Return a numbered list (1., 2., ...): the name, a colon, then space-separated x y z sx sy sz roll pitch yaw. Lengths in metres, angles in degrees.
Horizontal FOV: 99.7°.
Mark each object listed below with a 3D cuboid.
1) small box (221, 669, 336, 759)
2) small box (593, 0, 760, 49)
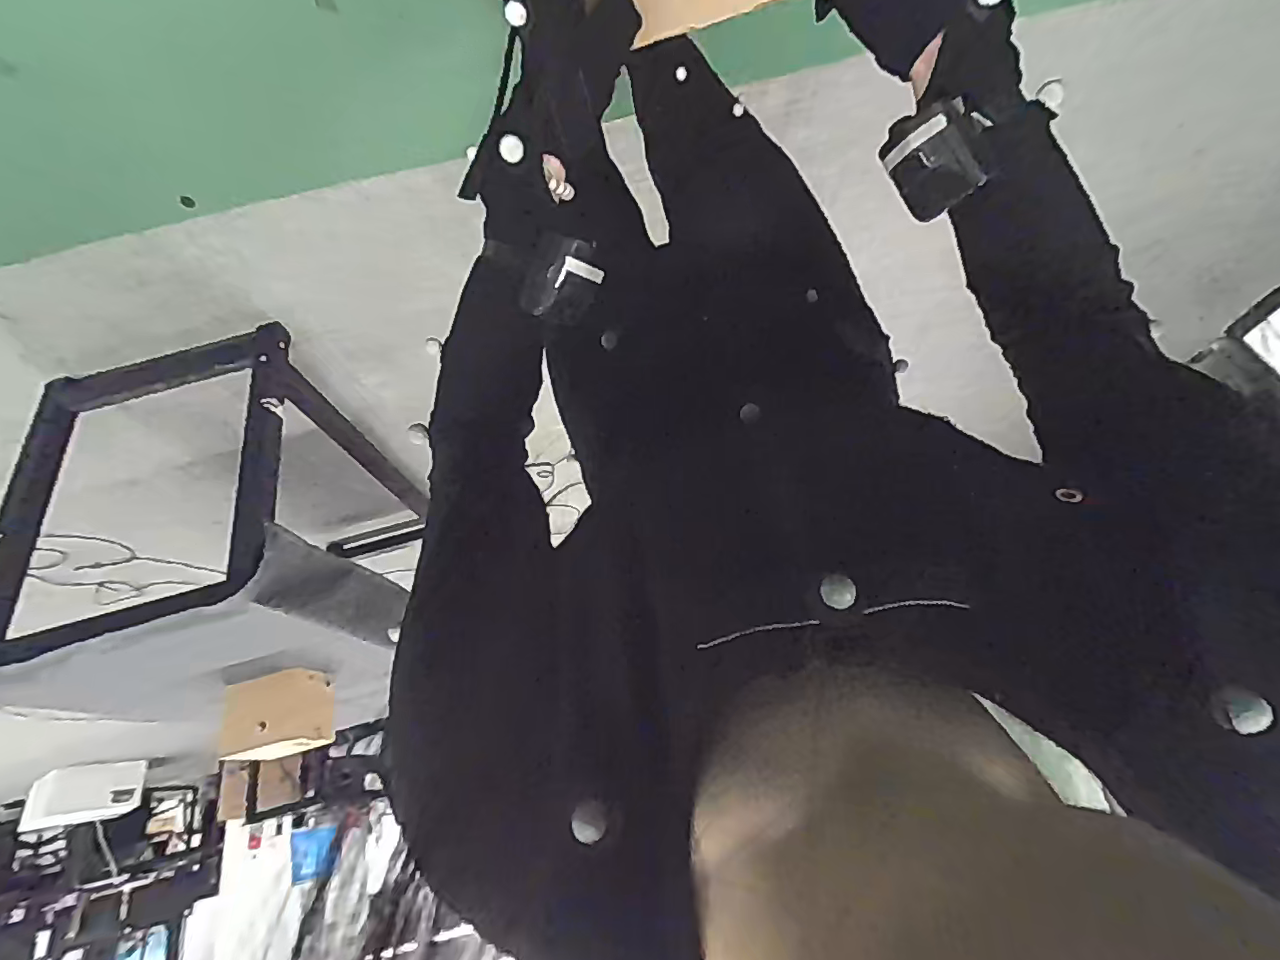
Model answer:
1. small box: -0.885 0.579 1.340 0.179 0.176 0.168 -15 151 0
2. small box: 0.021 -0.419 0.319 0.168 0.176 0.179 -18 159 1
